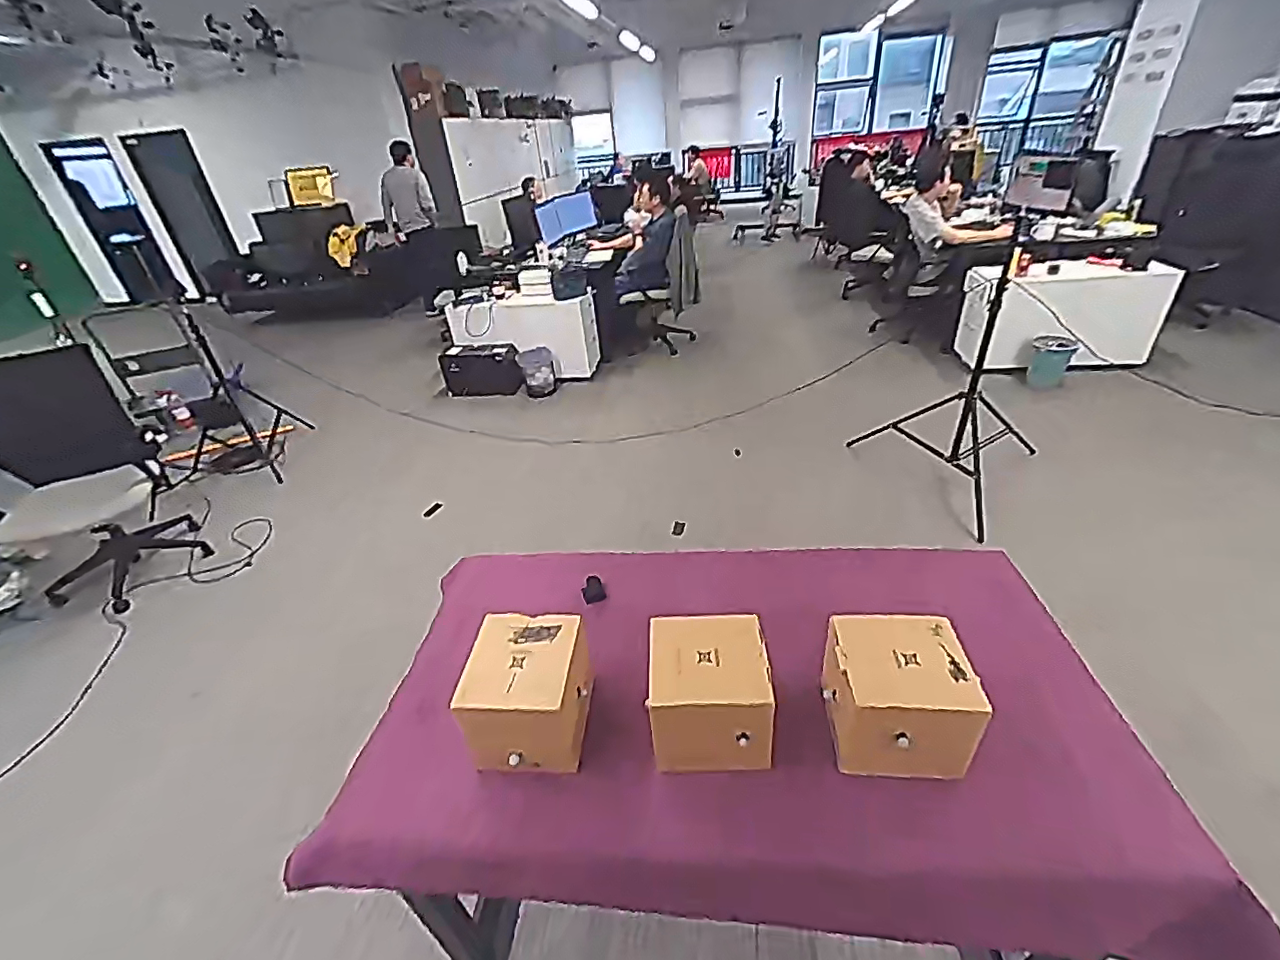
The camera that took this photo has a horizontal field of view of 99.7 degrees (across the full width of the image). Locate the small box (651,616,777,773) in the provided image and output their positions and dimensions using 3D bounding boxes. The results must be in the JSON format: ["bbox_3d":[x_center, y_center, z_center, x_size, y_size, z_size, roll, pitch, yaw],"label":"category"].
[{"bbox_3d":[0.111,0.337,0.853,0.179,0.176,0.168,-5,31,4],"label":"small box"}]

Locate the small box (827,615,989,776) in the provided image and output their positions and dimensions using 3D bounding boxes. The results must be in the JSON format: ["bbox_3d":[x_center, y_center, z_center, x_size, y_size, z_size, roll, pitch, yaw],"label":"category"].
[{"bbox_3d":[0.388,0.325,0.822,0.179,0.176,0.168,-2,32,8],"label":"small box"}]
